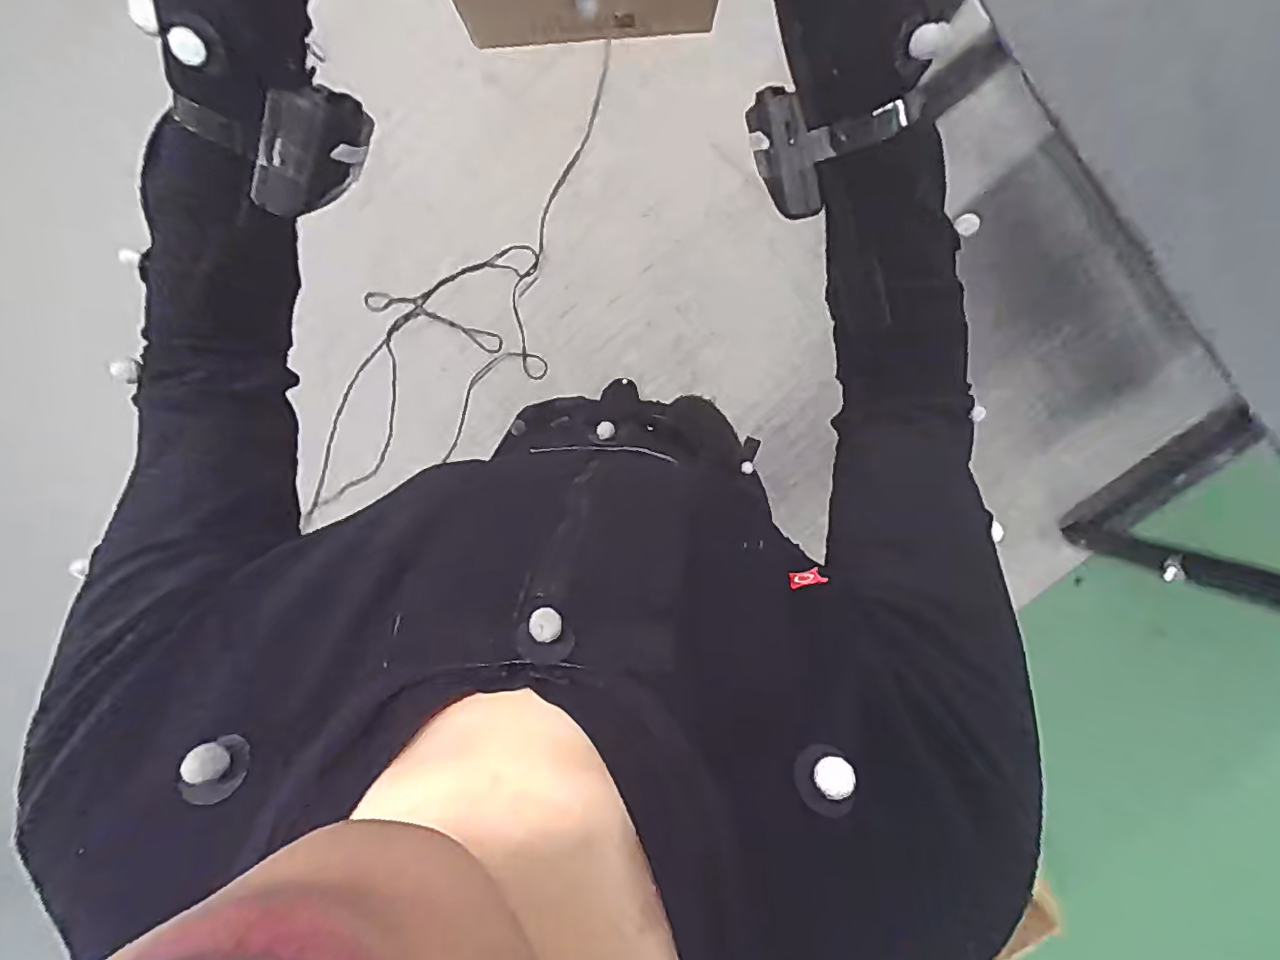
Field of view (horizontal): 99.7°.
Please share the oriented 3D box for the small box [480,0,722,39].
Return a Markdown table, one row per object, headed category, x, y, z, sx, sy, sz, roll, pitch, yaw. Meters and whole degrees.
| category | x | y | z | sx | sy | sz | roll | pitch | yaw |
| --- | --- | --- | --- | --- | --- | --- | --- | --- | --- |
| small box | -0.029 | -0.378 | 0.278 | 0.168 | 0.176 | 0.179 | -3 | 100 | 0 |
